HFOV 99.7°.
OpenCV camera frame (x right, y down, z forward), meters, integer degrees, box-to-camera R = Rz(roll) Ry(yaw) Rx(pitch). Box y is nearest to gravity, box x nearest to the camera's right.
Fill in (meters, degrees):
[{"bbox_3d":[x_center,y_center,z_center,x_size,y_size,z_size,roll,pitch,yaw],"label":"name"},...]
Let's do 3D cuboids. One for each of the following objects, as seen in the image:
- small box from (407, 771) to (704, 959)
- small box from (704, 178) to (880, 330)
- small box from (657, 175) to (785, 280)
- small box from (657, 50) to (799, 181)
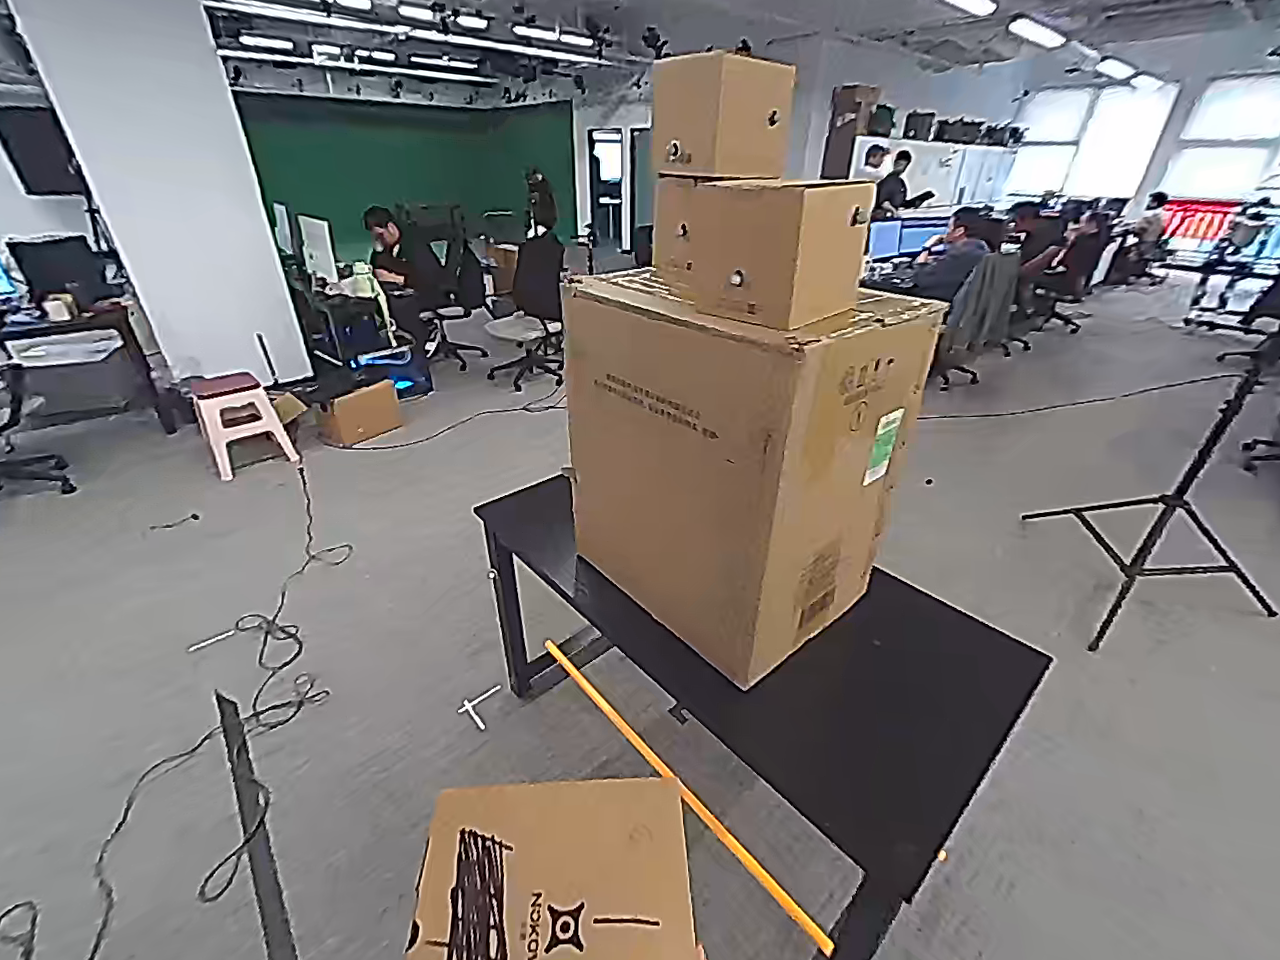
[{"bbox_3d":[-0.052,0.327,0.382,0.179,0.176,0.168,1,40,-4],"label":"small box"},{"bbox_3d":[0.201,-0.320,0.752,0.179,0.176,0.168,-27,38,-36],"label":"small box"},{"bbox_3d":[0.148,-0.482,1.027,0.179,0.176,0.168,-23,40,-35],"label":"small box"},{"bbox_3d":[0.142,-0.616,0.932,0.179,0.176,0.168,-22,37,-33],"label":"small box"}]
